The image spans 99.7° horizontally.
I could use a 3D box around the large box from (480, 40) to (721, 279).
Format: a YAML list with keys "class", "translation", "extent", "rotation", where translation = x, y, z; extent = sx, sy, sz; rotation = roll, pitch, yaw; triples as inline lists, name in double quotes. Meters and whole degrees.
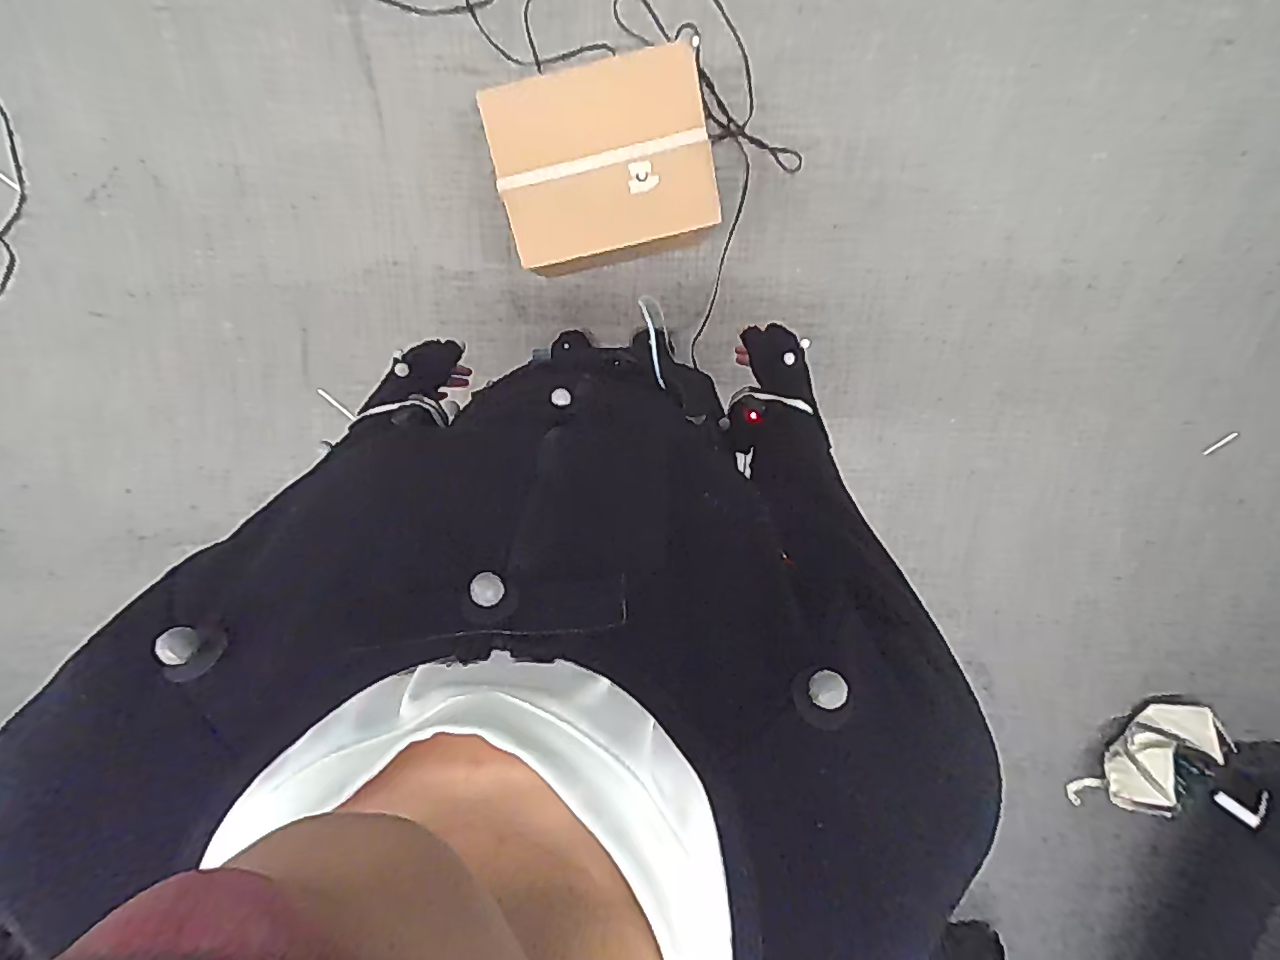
- class: "large box"
  translation: [-0.074, -0.645, 1.161]
  extent: [0.408, 0.320, 0.320]
  rotation: [-13, 107, 2]
